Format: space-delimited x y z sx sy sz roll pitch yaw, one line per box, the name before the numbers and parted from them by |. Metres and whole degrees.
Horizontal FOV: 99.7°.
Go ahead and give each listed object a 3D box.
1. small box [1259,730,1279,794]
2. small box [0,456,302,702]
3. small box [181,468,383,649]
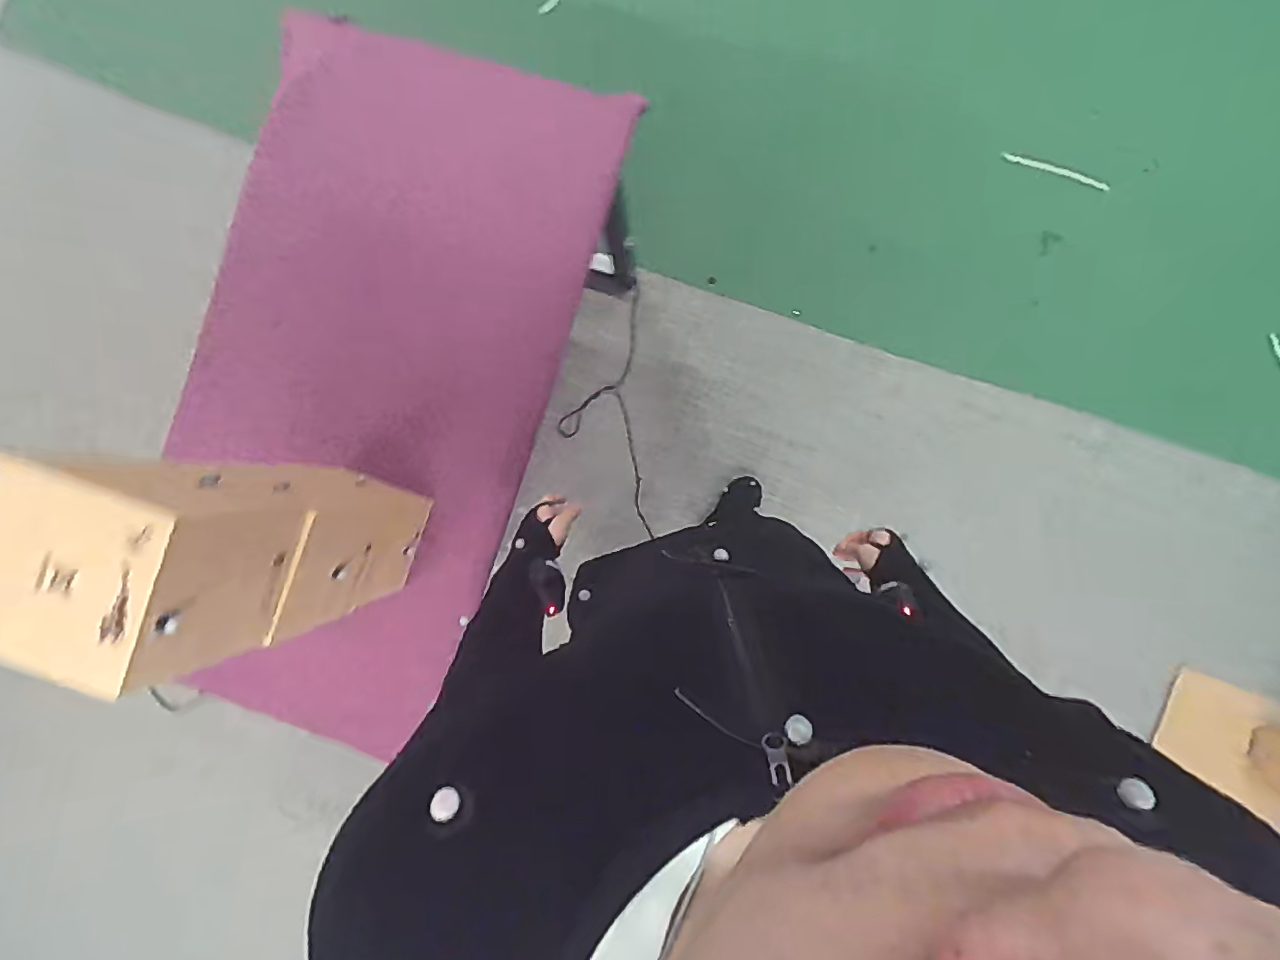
small box | 1.817 0.785 1.418 0.179 0.176 0.168 13 90 4
small box | -0.488 0.084 0.534 0.179 0.176 0.168 18 91 4
small box | -0.471 0.089 0.698 0.179 0.176 0.168 20 90 3
